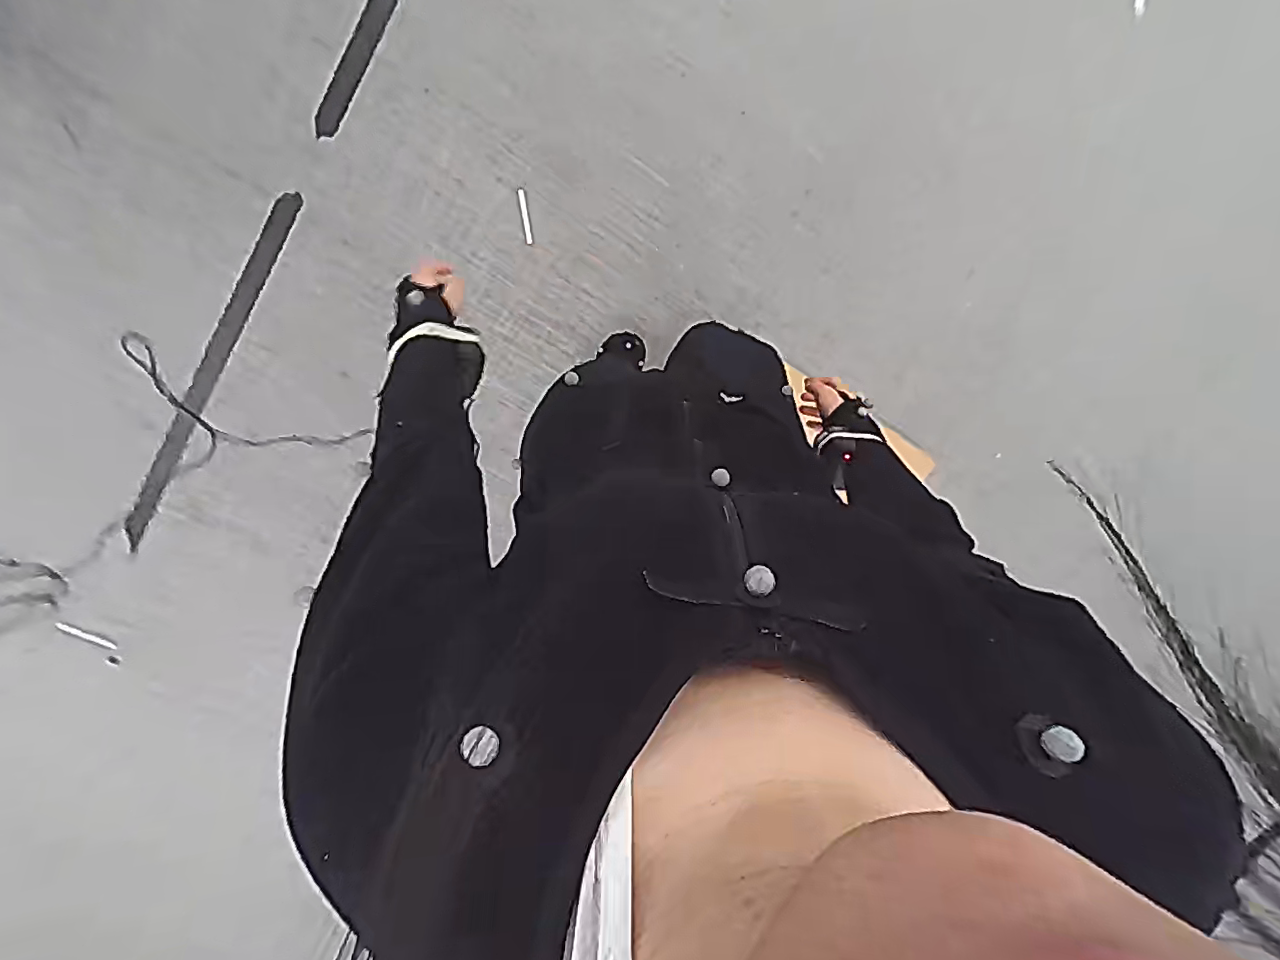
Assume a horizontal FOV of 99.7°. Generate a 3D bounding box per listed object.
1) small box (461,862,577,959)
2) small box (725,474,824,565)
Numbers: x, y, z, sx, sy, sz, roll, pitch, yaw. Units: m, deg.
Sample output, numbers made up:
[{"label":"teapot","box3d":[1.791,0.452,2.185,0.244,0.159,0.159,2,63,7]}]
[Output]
[{"label":"small box","box3d":[-0.215,0.858,1.003,0.179,0.176,0.168,-9,108,-4]},{"label":"small box","box3d":[0.363,0.101,1.499,0.179,0.176,0.168,35,98,-16]}]
